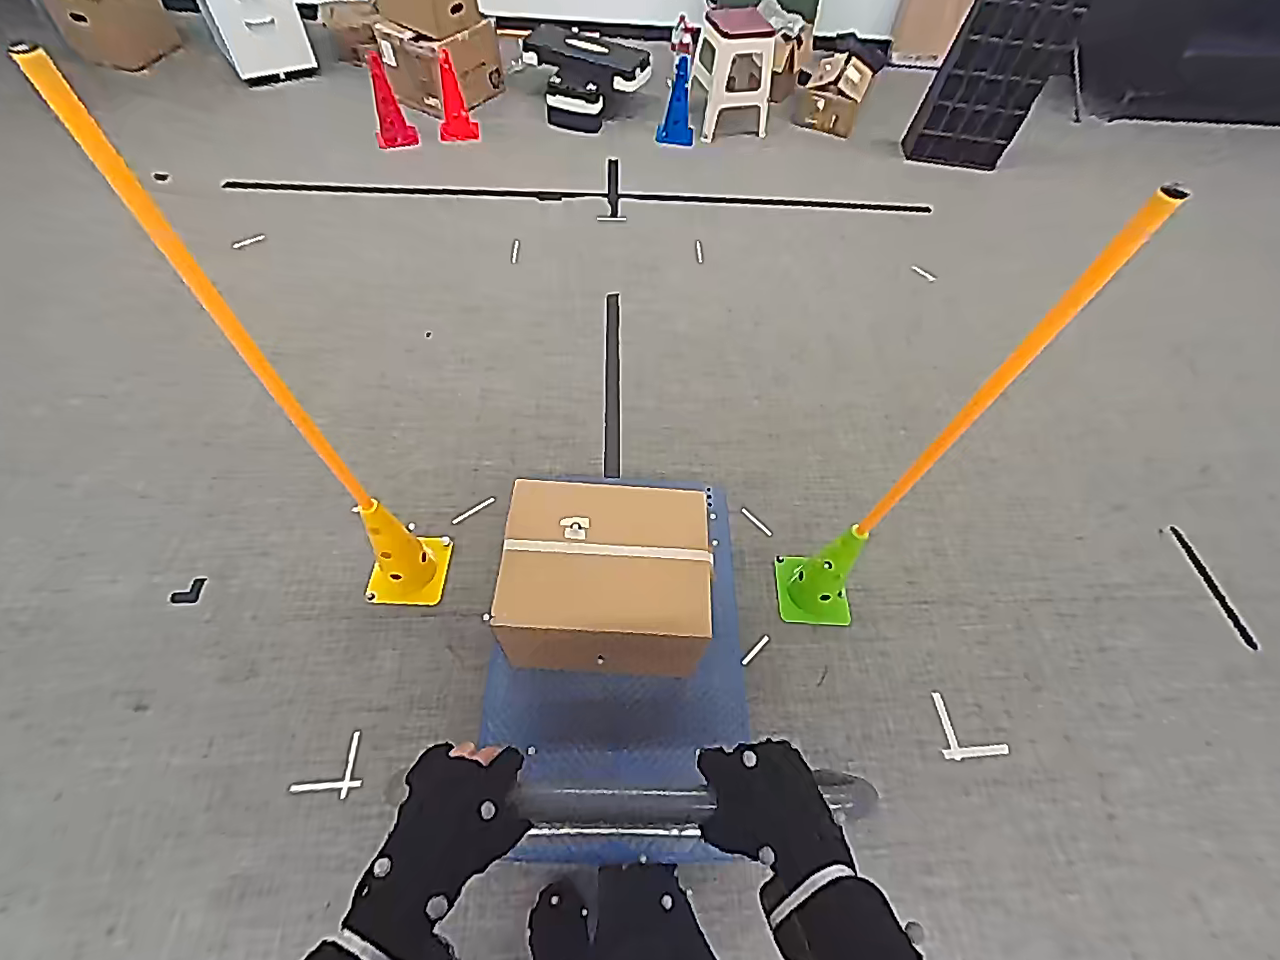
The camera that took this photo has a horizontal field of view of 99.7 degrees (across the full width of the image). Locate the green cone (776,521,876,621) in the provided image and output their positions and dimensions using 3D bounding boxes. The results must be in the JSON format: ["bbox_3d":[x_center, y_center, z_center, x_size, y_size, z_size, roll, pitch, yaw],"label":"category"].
[{"bbox_3d":[0.511,0.213,1.410,0.202,0.368,0.200,5,57,-3],"label":"green cone"}]

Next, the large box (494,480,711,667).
[{"bbox_3d":[-0.070,0.217,1.189,0.408,0.320,0.320,4,57,-1],"label":"large box"}]
